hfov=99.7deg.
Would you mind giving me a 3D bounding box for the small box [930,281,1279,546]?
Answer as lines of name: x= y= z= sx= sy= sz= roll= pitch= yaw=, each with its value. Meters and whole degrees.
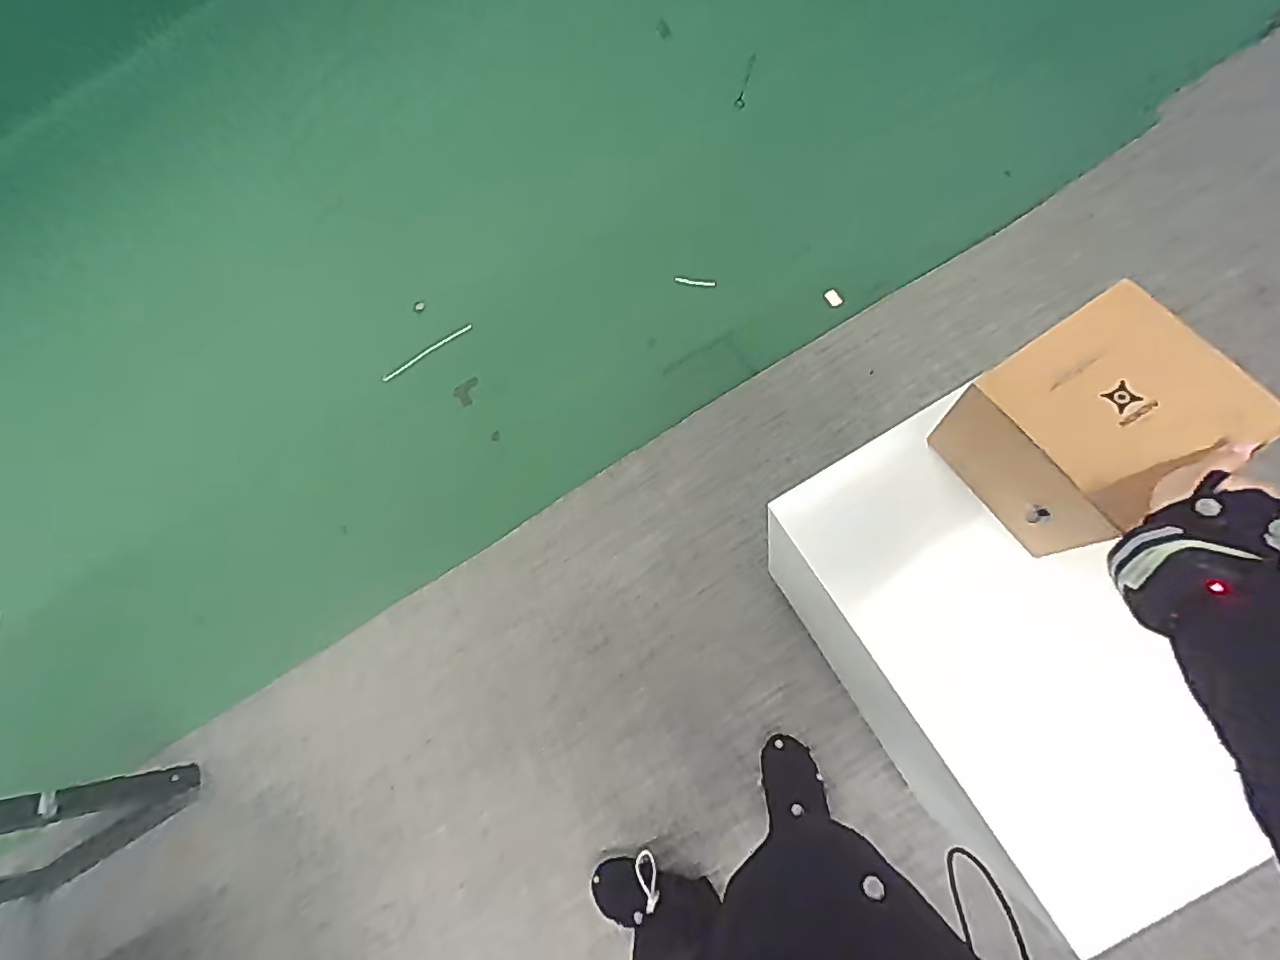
small box: x=0.432 y=-0.049 z=0.538 sx=0.168 sy=0.176 sz=0.179 roll=-35 pitch=69 yaw=2
